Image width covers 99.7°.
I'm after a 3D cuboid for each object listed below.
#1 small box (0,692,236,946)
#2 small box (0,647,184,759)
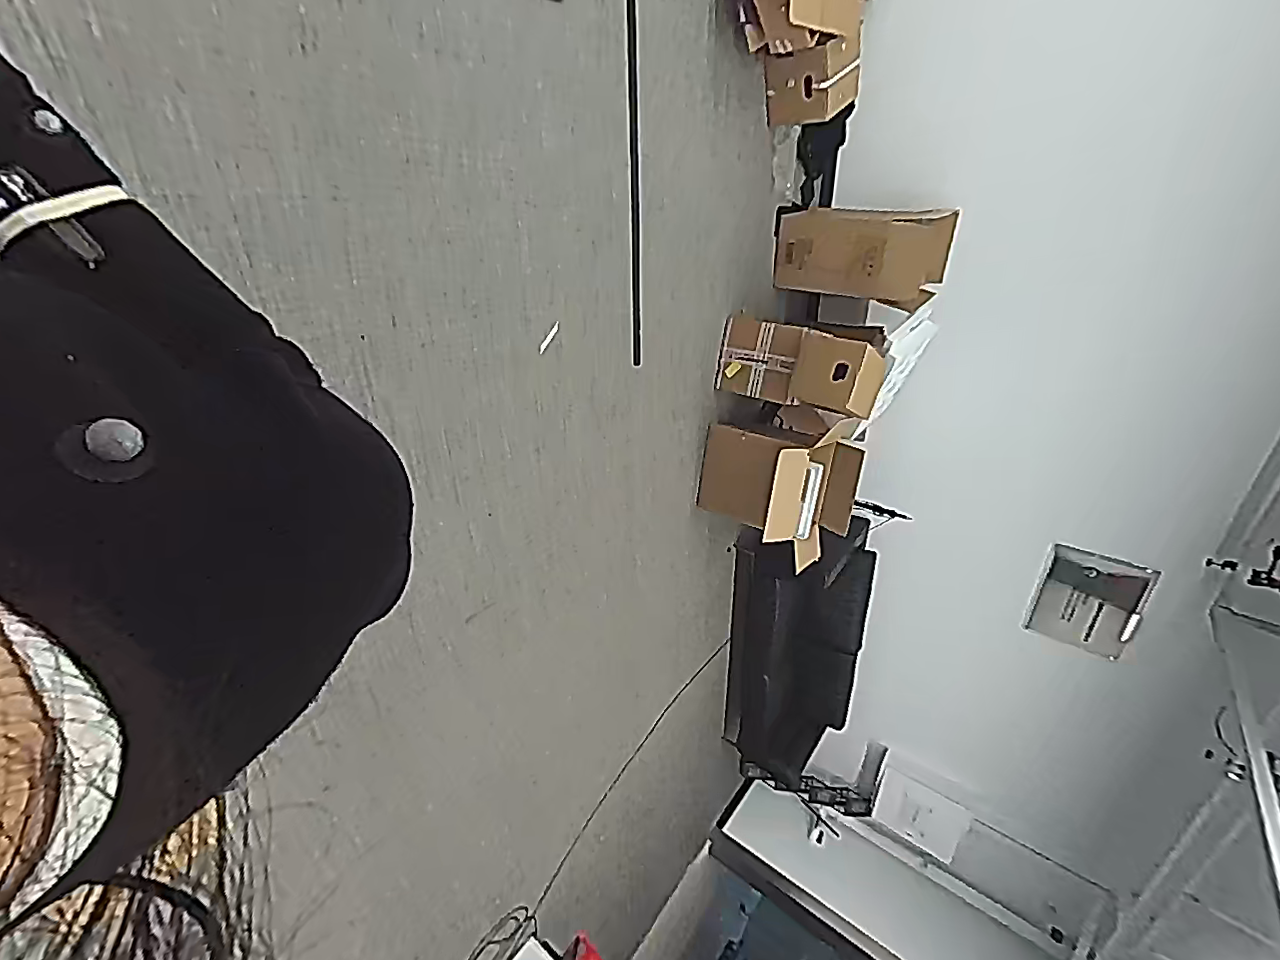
[{"bbox_3d":[-0.656,0.406,0.676,0.168,0.176,0.179,-34,130,-45],"label":"small box"},{"bbox_3d":[-0.784,0.363,0.765,0.168,0.176,0.179,-31,130,-46],"label":"small box"}]
